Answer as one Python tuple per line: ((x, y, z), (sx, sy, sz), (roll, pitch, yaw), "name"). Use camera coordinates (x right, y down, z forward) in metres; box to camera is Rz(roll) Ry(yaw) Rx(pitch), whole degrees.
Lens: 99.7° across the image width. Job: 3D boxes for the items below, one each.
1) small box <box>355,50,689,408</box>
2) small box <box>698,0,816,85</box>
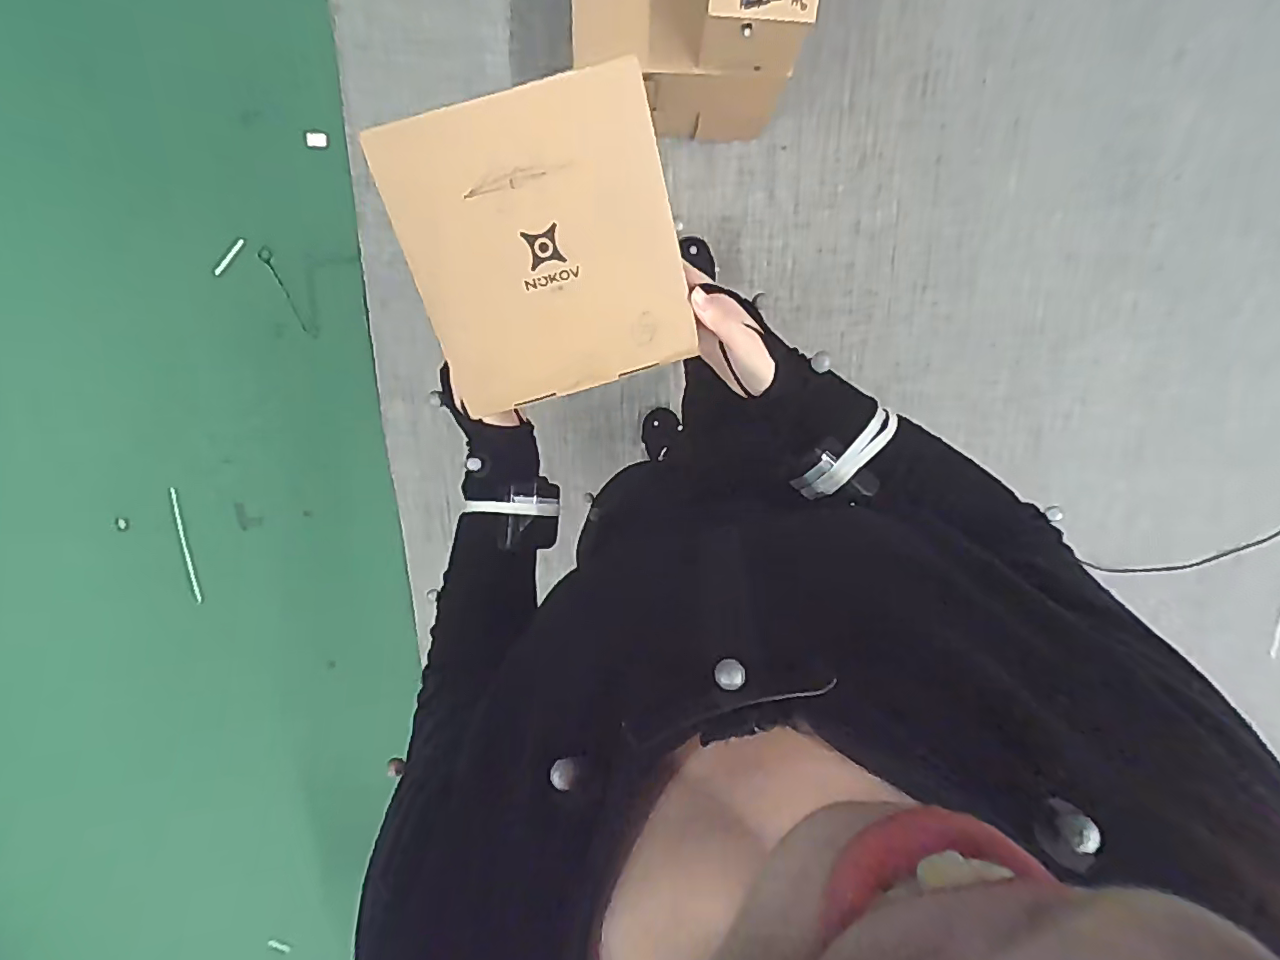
((-0.071, -0.174, 0.410), (0.168, 0.176, 0.179), (-16, 111, -1), "small box")
((0.188, -0.788, 0.879), (0.168, 0.176, 0.179), (5, 102, 0), "small box")
